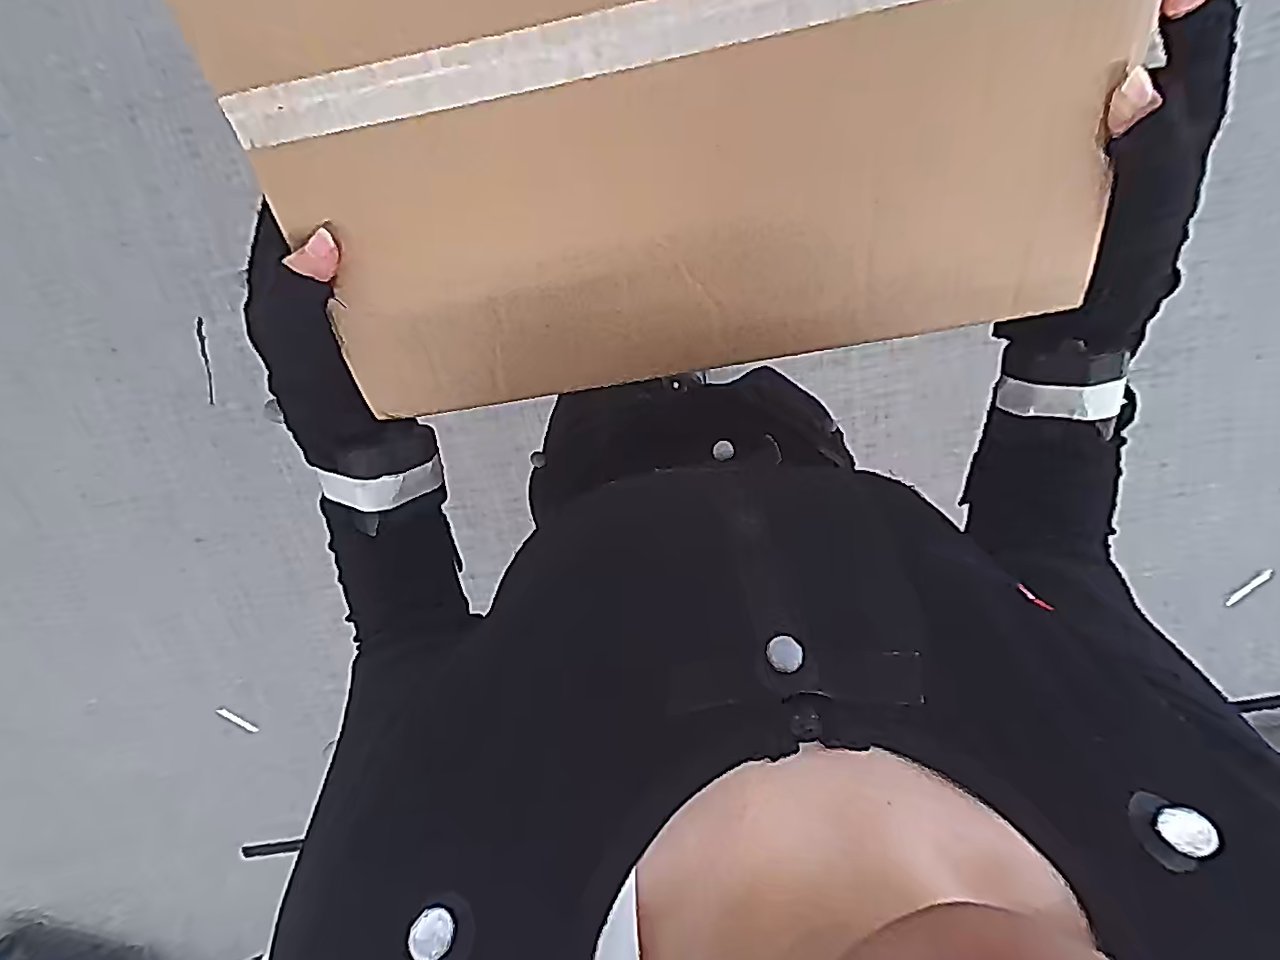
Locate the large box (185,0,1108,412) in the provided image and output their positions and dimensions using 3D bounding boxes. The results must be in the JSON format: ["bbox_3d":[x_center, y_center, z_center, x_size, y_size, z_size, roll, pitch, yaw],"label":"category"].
[{"bbox_3d":[0.007,-0.280,0.366,0.408,0.320,0.320,-8,122,5],"label":"large box"}]
